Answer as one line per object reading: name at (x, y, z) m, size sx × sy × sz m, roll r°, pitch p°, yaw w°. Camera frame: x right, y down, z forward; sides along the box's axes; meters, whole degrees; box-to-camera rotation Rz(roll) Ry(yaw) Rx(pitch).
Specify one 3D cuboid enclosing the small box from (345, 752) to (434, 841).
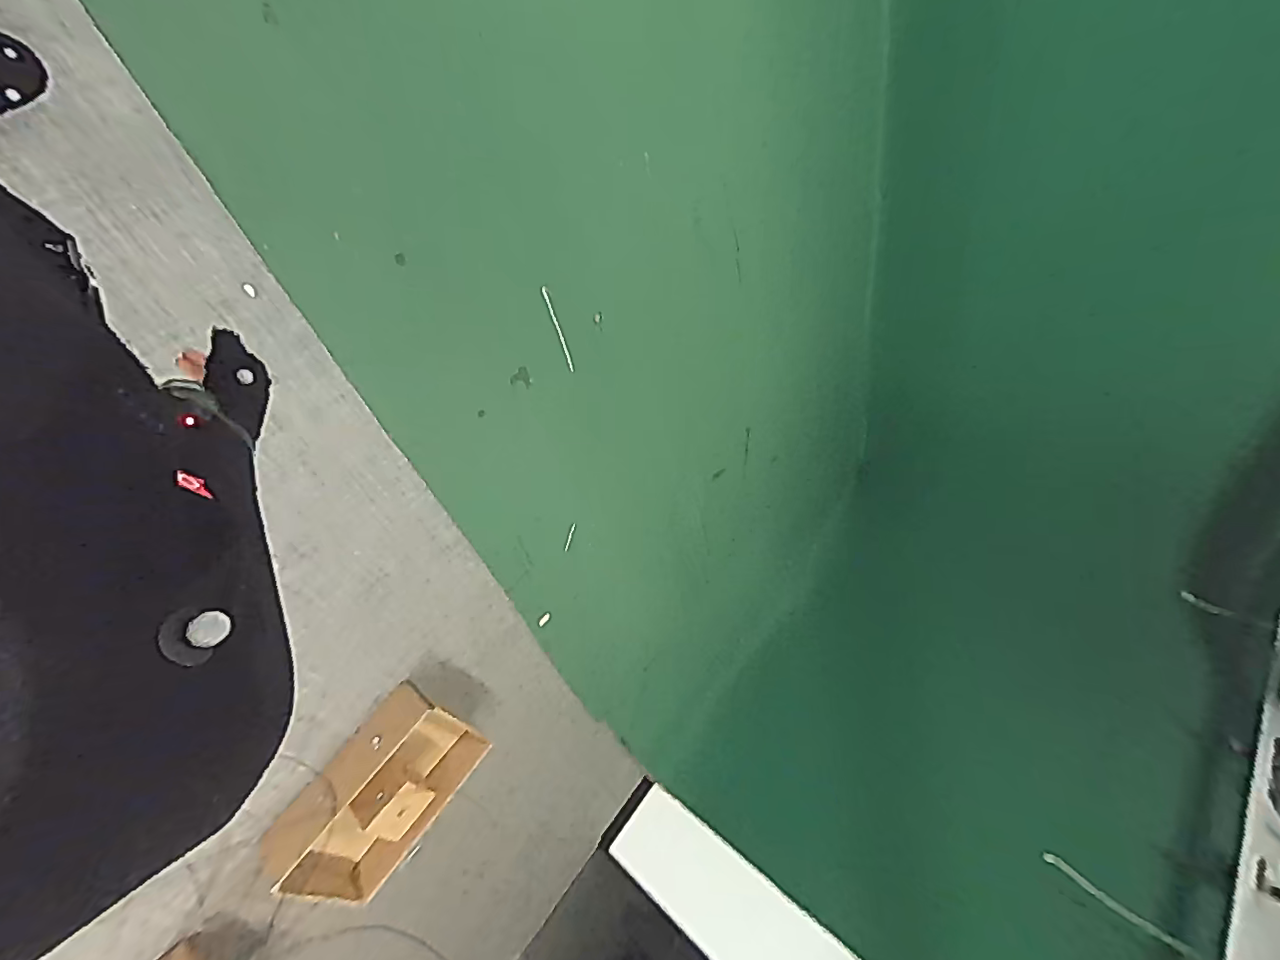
small box at (-0.827, 1.038, 1.782) m, size 0.179 × 0.176 × 0.168 m, roll -48°, pitch 138°, yaw -21°
